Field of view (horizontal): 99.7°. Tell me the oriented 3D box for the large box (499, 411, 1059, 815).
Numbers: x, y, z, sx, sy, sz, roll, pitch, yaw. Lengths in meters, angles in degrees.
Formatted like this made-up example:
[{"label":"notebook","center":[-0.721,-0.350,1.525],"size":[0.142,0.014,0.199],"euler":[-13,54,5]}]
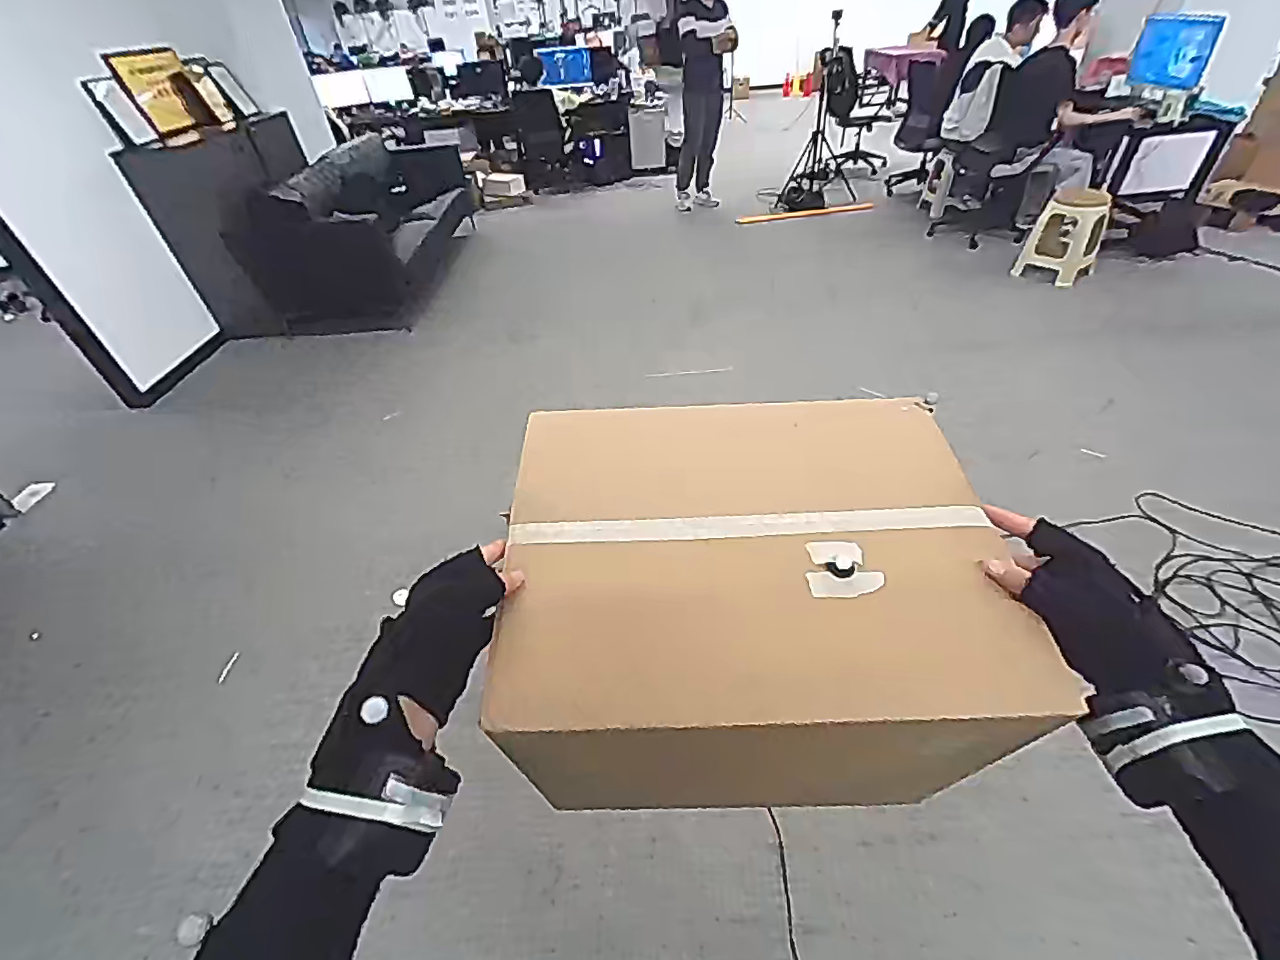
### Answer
[{"label":"large box","center":[0.097,0.150,0.586],"size":[0.408,0.320,0.320],"euler":[-3,50,1]}]
